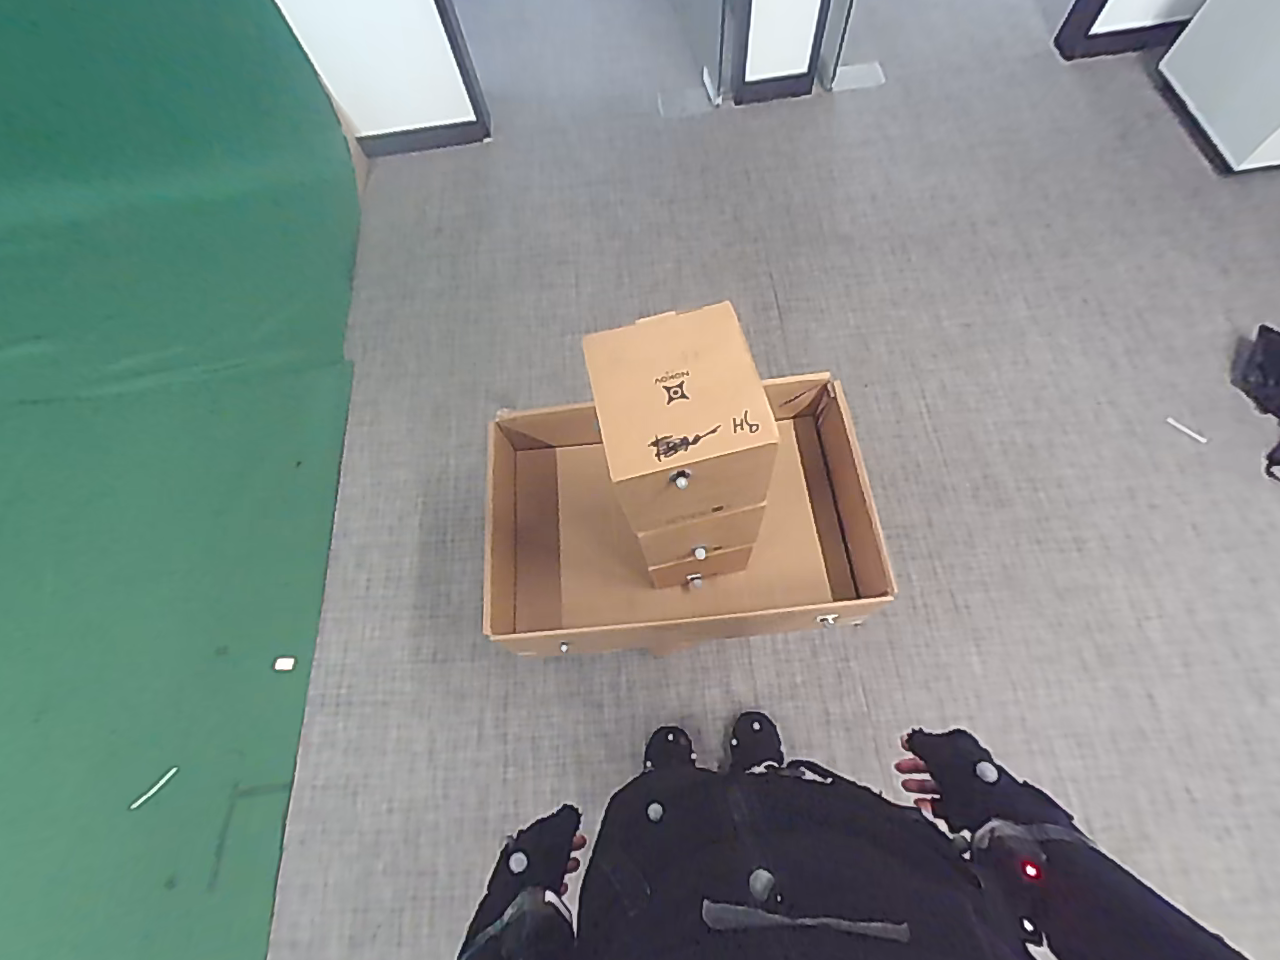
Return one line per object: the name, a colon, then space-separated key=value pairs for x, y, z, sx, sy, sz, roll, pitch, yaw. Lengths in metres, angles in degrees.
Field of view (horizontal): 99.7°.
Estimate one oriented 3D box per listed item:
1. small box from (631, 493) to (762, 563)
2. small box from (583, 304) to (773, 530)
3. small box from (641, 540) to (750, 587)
small box: x=0.064 y=0.002 z=0.769 sx=0.168 sy=0.176 sz=0.179 roll=-13 pitch=67 yaw=2
small box: x=0.041 y=-0.063 z=0.621 sx=0.168 sy=0.176 sz=0.179 roll=-14 pitch=65 yaw=2
small box: x=0.079 y=0.067 z=0.919 sx=0.168 sy=0.176 sz=0.179 roll=-13 pitch=67 yaw=1
